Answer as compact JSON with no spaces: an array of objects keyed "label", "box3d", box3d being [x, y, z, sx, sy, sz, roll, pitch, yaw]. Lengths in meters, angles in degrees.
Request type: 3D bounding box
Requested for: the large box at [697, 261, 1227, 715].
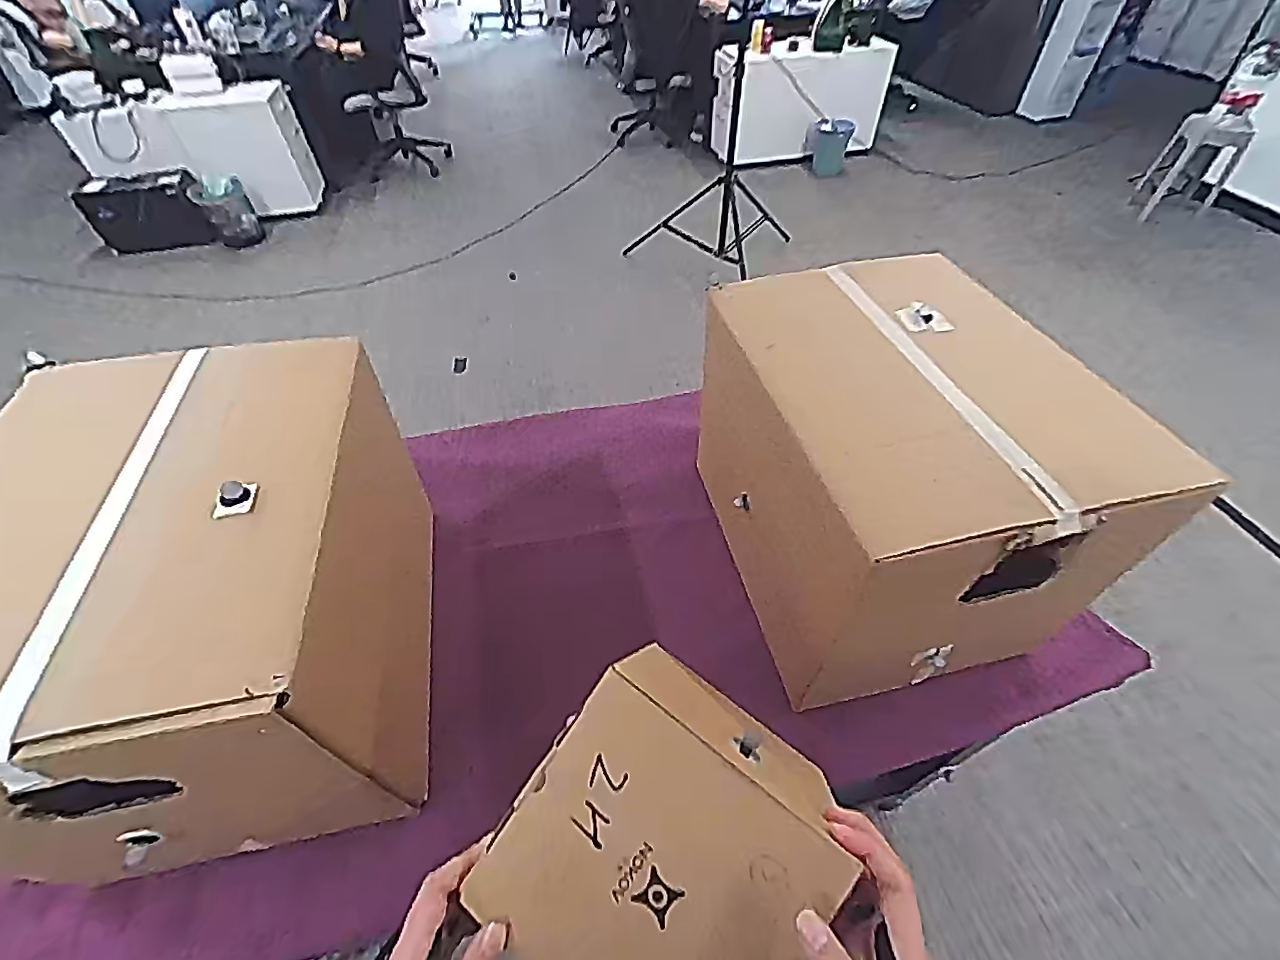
[{"label":"large box","box3d":[0.275,-0.006,0.641,0.320,0.320,0.408,-10,47,-8]}]
